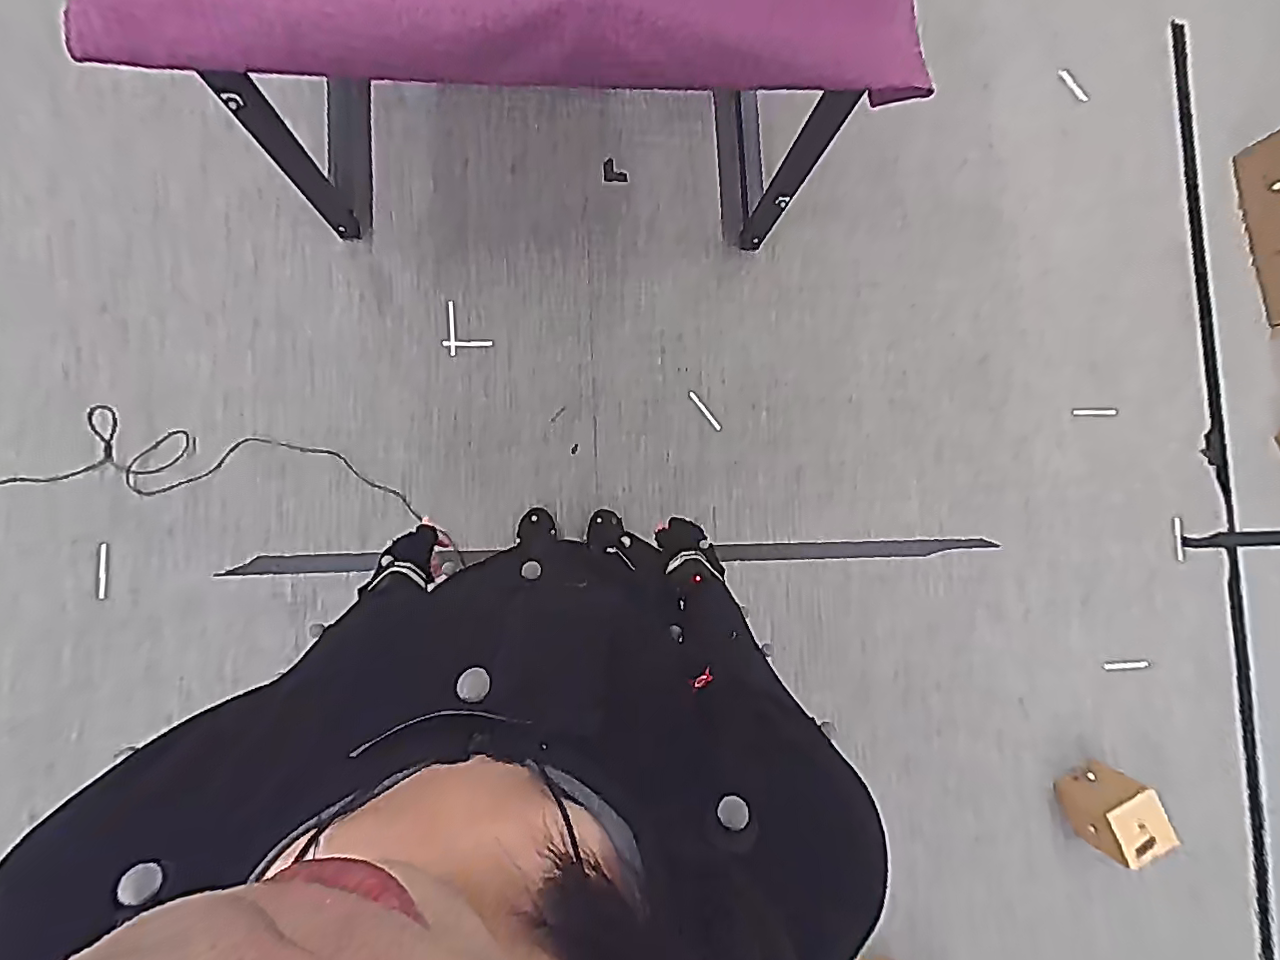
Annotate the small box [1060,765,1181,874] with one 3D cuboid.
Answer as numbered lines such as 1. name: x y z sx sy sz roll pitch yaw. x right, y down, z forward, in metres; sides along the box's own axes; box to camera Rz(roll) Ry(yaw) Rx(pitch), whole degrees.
1. small box: 1.379 0.972 1.562 0.168 0.176 0.179 -24 89 -8
